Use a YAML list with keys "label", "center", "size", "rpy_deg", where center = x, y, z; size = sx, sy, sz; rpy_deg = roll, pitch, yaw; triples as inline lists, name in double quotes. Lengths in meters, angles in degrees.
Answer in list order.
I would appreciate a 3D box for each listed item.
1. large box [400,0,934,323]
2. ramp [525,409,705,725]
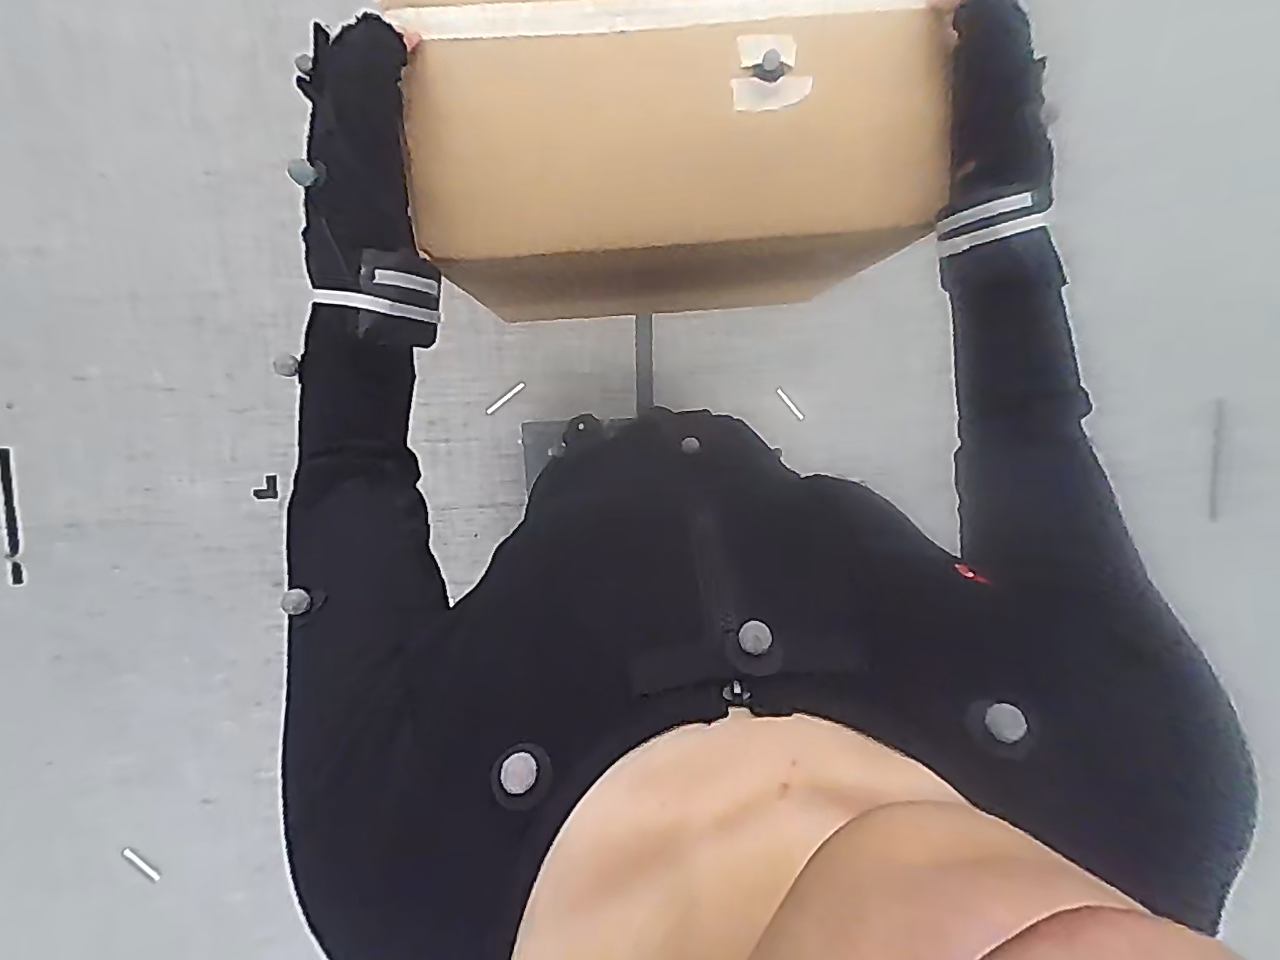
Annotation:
- label: "large box"
  center: [0.016, -0.358, 0.552]
  size: [0.408, 0.320, 0.320]
  rpy_deg: [-5, 98, -2]
- label: "ramp"
  center: [-0.049, 0.294, 1.599]
  size: [0.509, 0.206, 0.991]
  rpy_deg: [-4, 96, -3]
